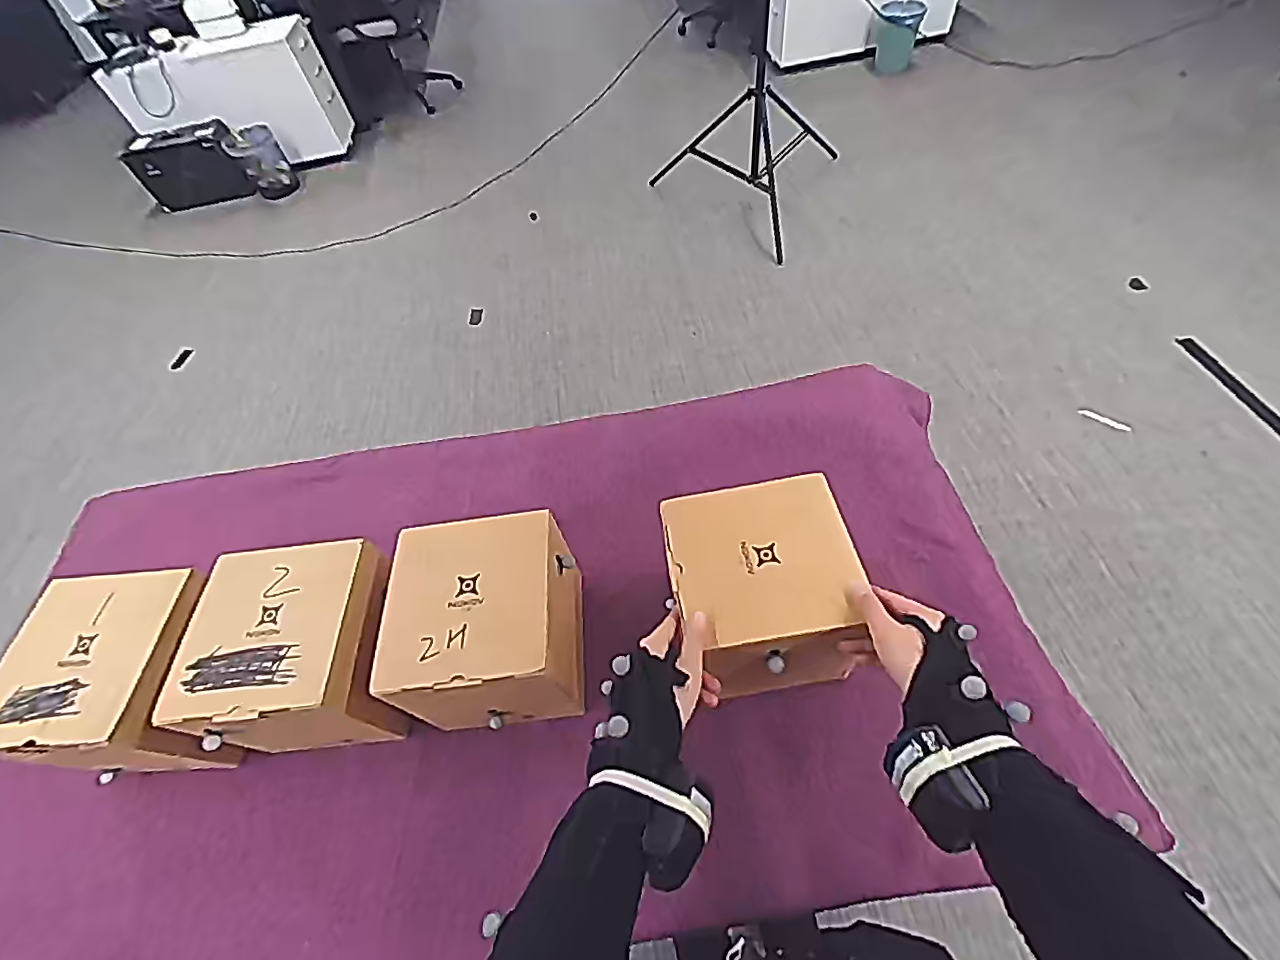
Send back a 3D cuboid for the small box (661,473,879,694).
[{"bbox_3d":[0.125,0.118,0.584,0.179,0.176,0.168,-11,54,2],"label":"small box"}]
